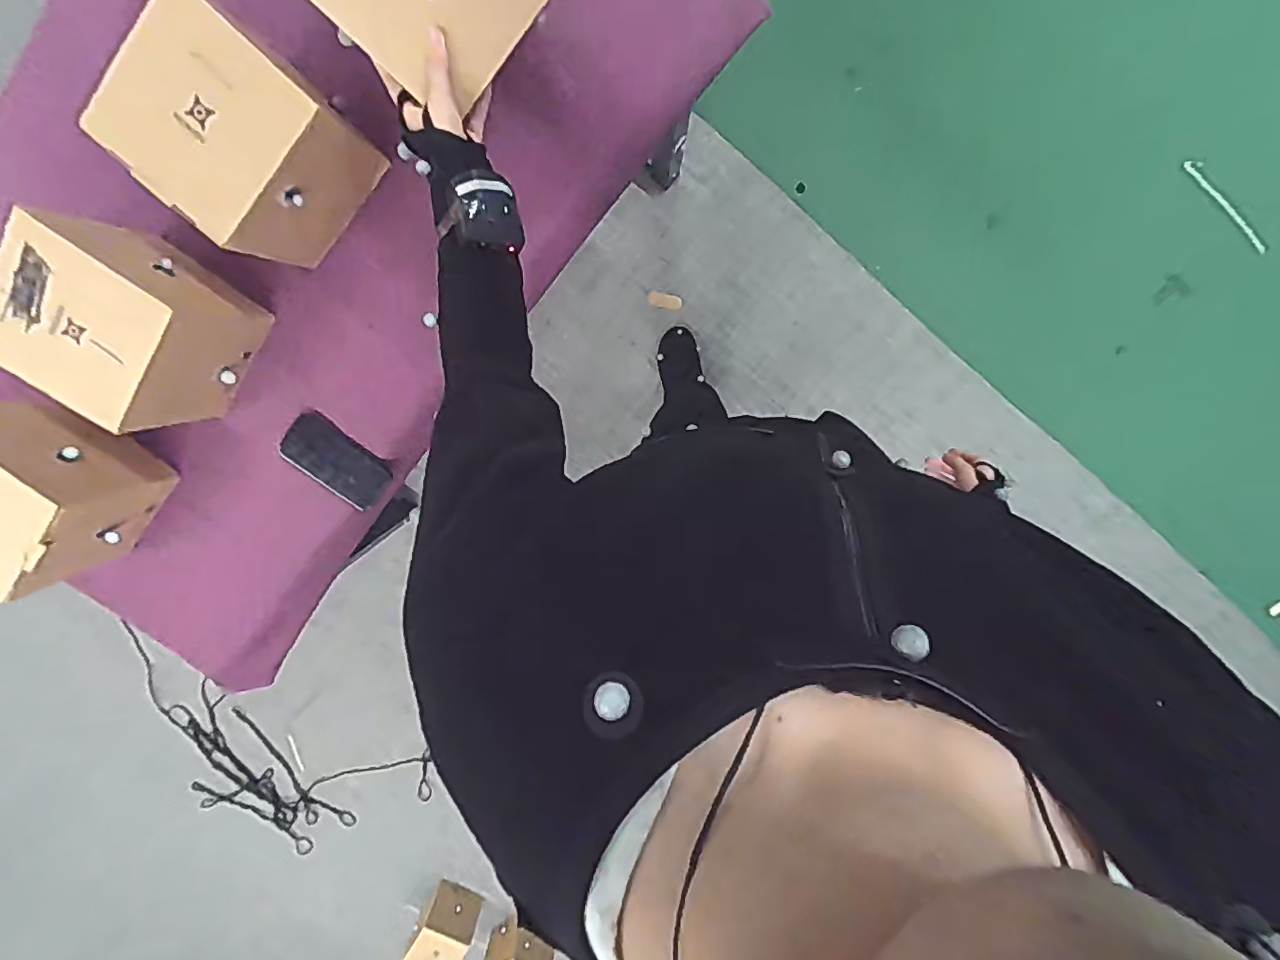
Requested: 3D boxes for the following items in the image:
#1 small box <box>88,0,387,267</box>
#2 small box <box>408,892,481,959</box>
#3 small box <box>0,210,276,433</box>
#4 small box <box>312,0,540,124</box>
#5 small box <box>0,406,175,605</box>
[{"bbox_3d":[-0.423,-0.366,0.602,0.168,0.176,0.179,43,100,-9],"label":"small box"},{"bbox_3d":[-0.647,1.527,1.793,0.168,0.176,0.179,31,102,-7],"label":"small box"},{"bbox_3d":[-0.598,-0.179,0.648,0.179,0.176,0.168,35,101,-8],"label":"small box"},{"bbox_3d":[-0.206,-0.485,0.512,0.179,0.176,0.168,-46,132,15],"label":"small box"},{"bbox_3d":[-0.771,0.020,0.697,0.179,0.176,0.168,40,101,-9],"label":"small box"}]
